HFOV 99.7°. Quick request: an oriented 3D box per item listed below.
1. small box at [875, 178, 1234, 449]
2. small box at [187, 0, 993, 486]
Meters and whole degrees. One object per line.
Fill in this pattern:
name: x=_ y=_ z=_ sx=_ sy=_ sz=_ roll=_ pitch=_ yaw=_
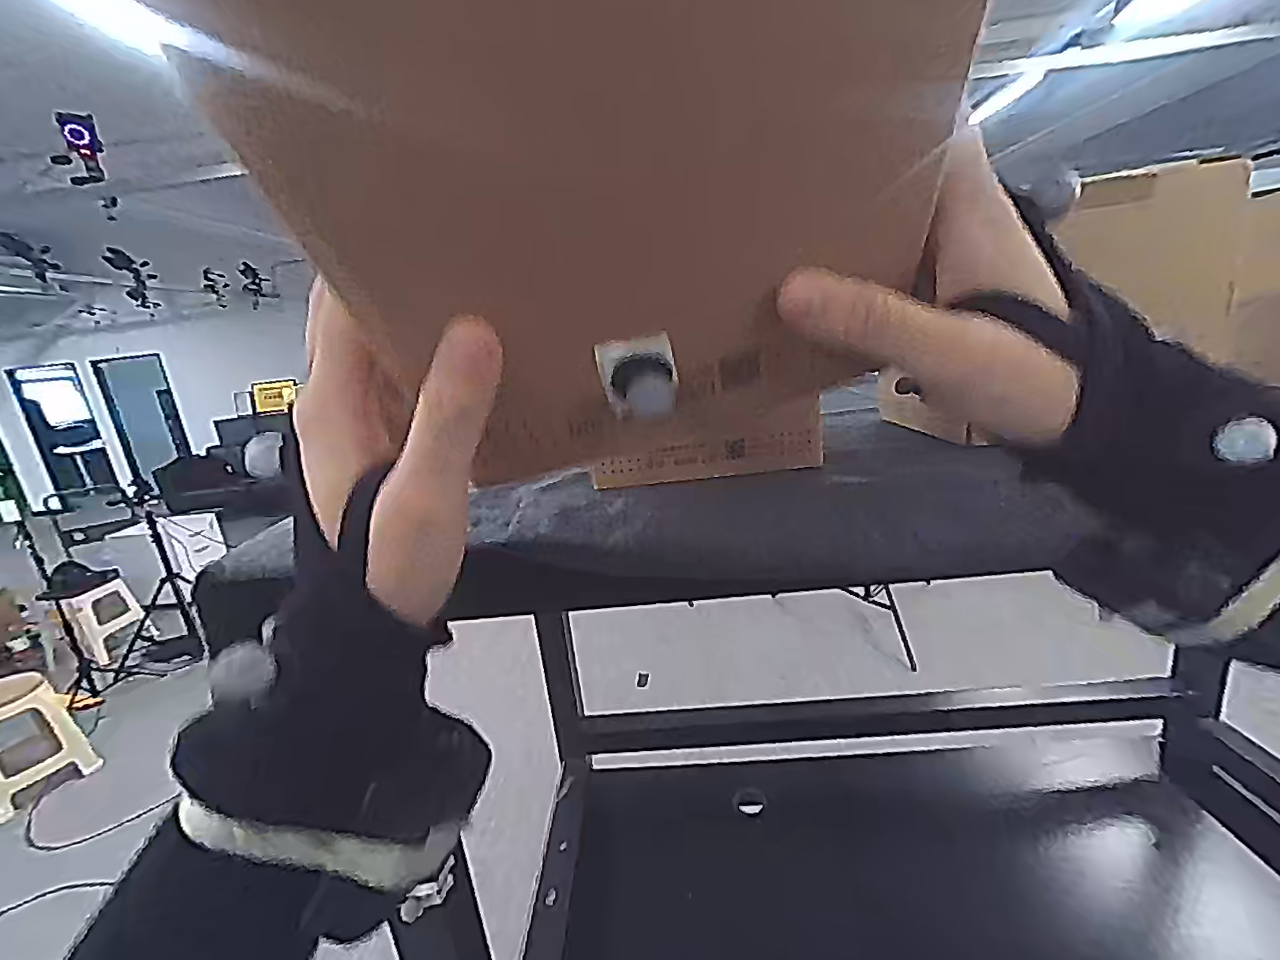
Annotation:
small box: x=0.305 y=-0.121 z=0.443 sx=0.168 sy=0.176 sz=0.179 roll=-4 pitch=14 yaw=4
small box: x=-0.013 y=-0.128 z=0.199 sx=0.168 sy=0.176 sz=0.179 roll=-18 pitch=54 yaw=-1
